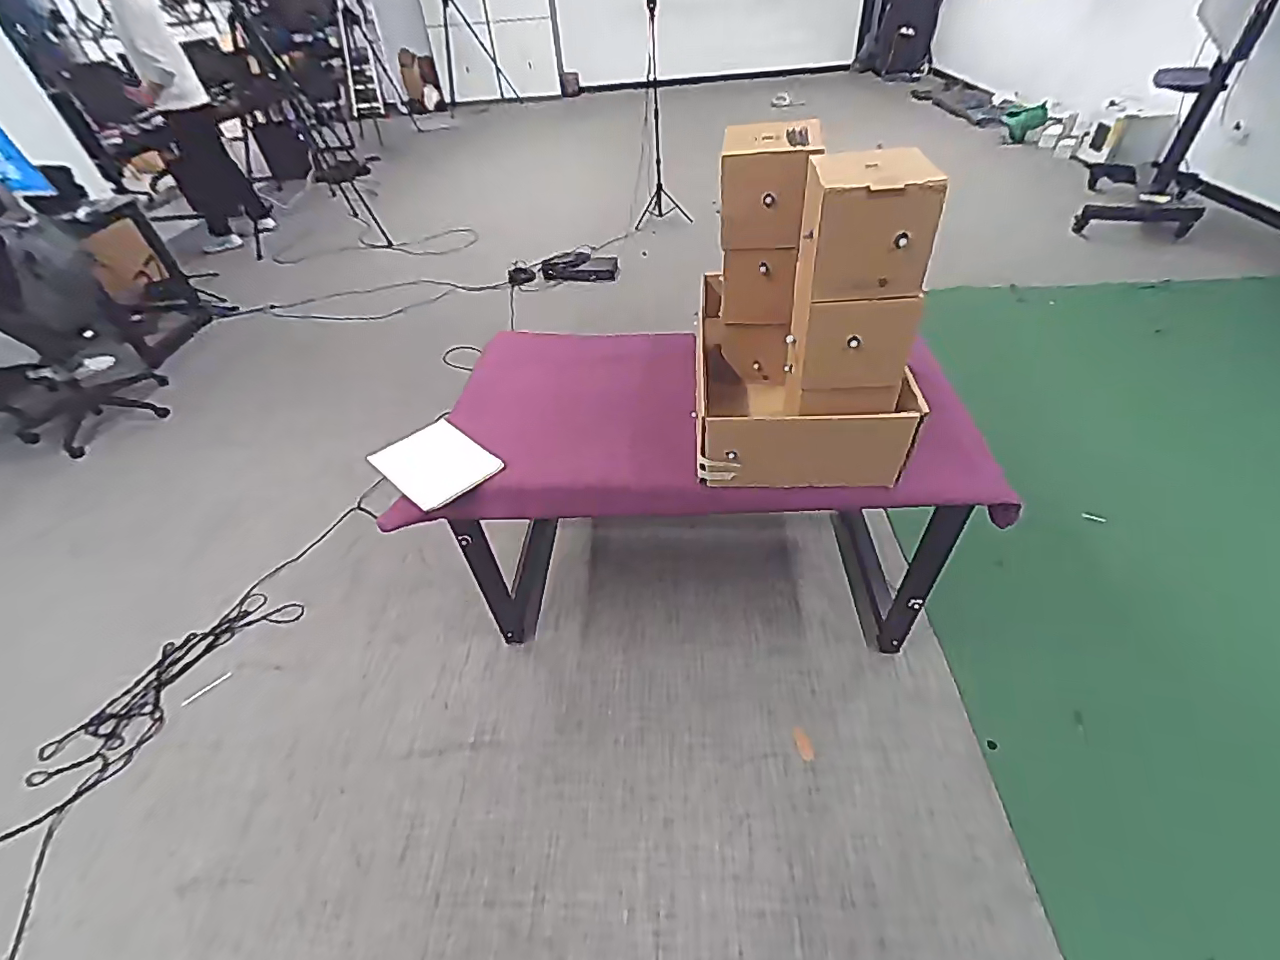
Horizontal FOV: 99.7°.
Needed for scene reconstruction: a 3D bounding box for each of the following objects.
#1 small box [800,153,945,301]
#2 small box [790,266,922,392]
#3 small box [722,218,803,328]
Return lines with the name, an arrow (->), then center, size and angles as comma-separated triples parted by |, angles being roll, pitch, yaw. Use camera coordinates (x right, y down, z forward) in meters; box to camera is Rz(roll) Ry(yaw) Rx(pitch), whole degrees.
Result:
small box -> 0.351, -0.392, 0.852 | 0.168, 0.176, 0.179 | 0, 43, 8
small box -> 0.368, -0.270, 0.959 | 0.179, 0.176, 0.168 | -1, 43, 9
small box -> 0.269, -0.437, 1.150 | 0.179, 0.176, 0.168 | 3, 48, 11
